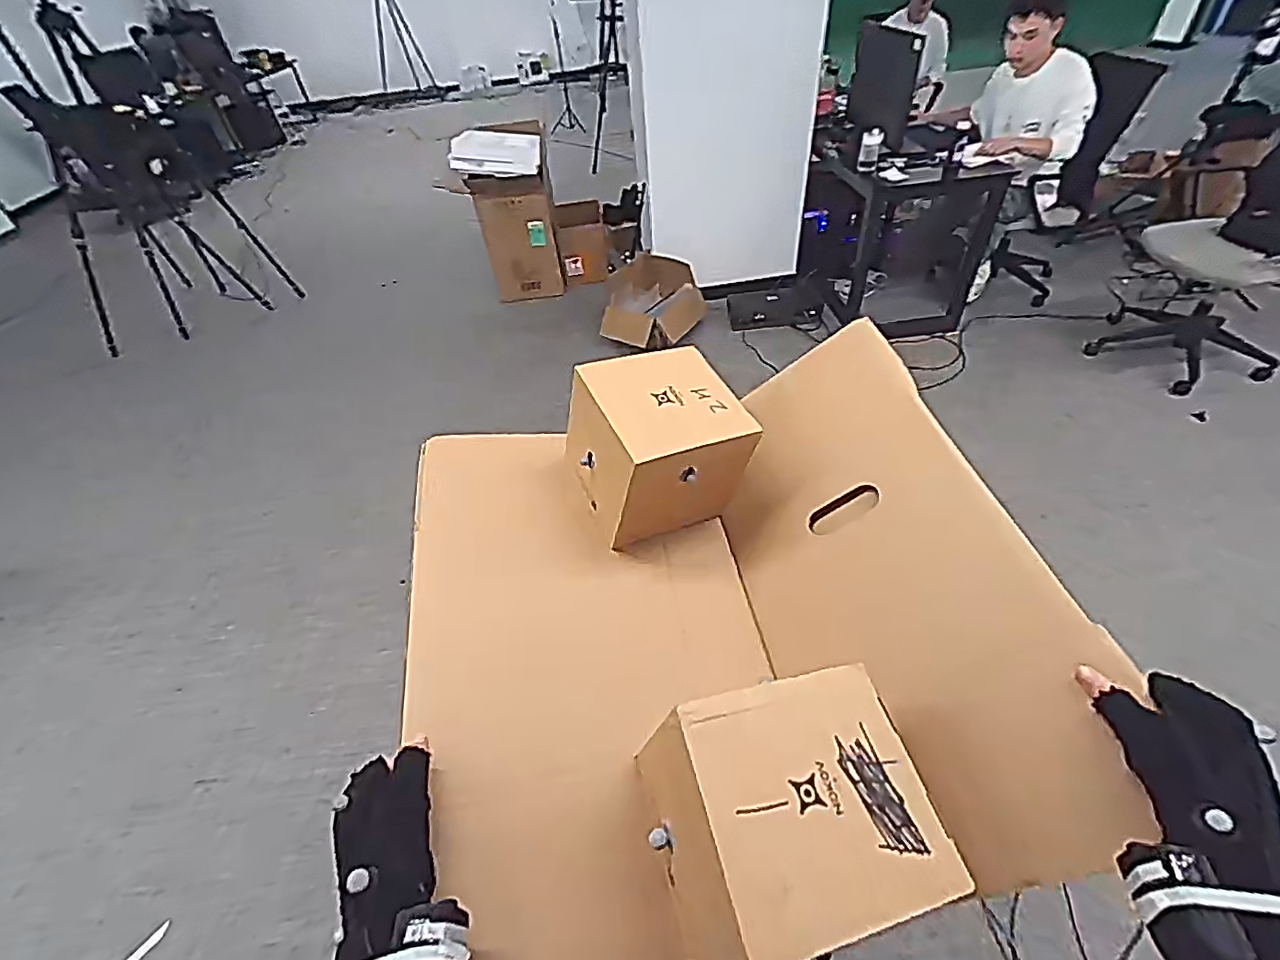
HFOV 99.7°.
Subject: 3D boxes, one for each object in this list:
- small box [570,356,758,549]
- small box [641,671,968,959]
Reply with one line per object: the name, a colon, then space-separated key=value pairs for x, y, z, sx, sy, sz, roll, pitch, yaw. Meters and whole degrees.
small box: x=0.016 y=-0.034 z=0.701 sx=0.179 sy=0.176 sz=0.168 roll=-15 pitch=56 yaw=-25
small box: x=0.114 y=0.283 z=0.457 sx=0.179 sy=0.176 sz=0.168 roll=-6 pitch=53 yaw=-17
